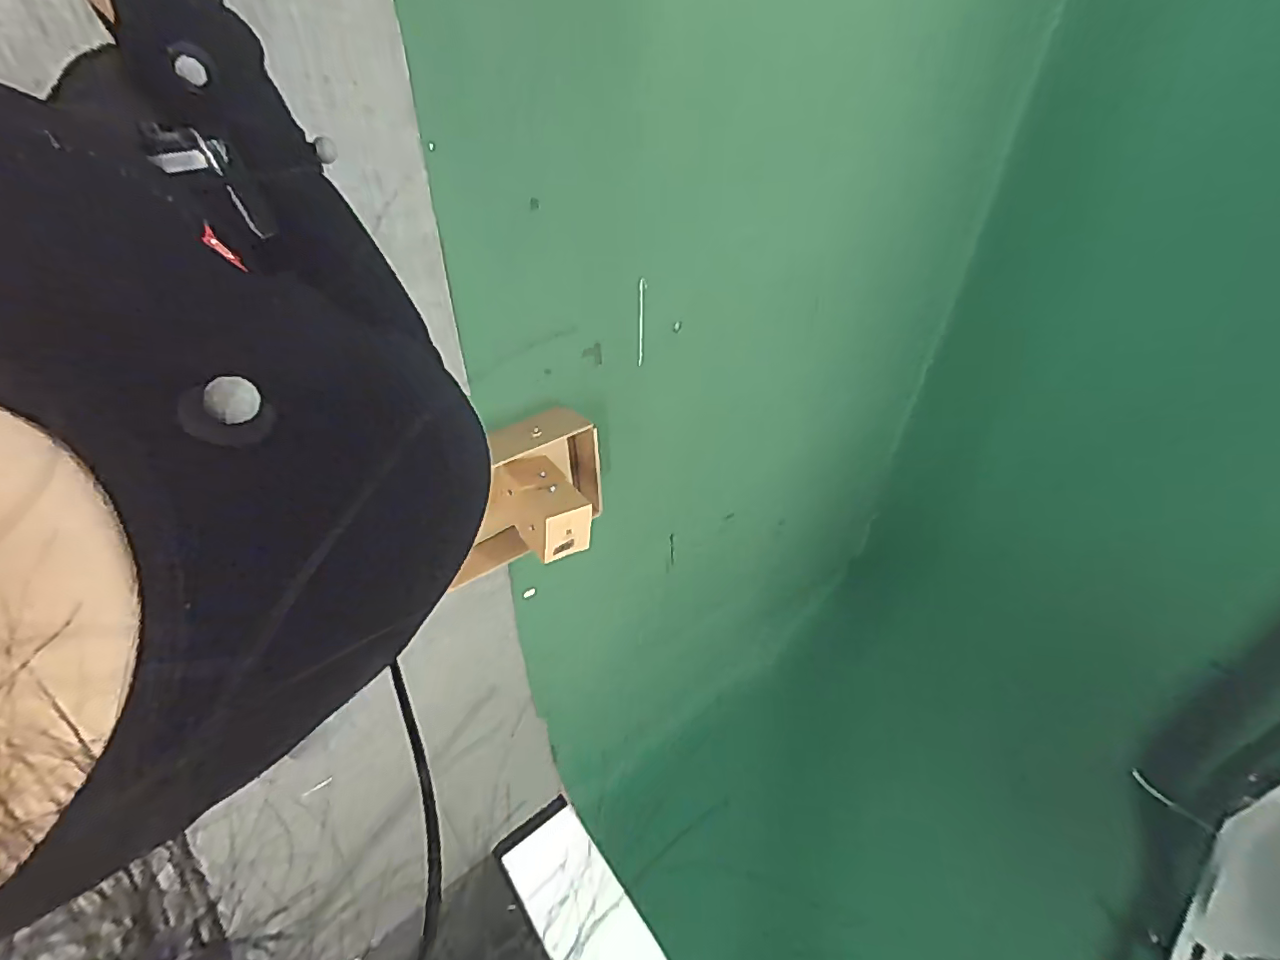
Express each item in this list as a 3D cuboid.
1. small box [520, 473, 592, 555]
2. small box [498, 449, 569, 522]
[{"bbox_3d":[-0.271,0.103,1.712,0.168,0.176,0.179,-17,130,-34],"label":"small box"},{"bbox_3d":[-0.363,0.014,1.816,0.179,0.176,0.168,-14,129,-36],"label":"small box"}]
